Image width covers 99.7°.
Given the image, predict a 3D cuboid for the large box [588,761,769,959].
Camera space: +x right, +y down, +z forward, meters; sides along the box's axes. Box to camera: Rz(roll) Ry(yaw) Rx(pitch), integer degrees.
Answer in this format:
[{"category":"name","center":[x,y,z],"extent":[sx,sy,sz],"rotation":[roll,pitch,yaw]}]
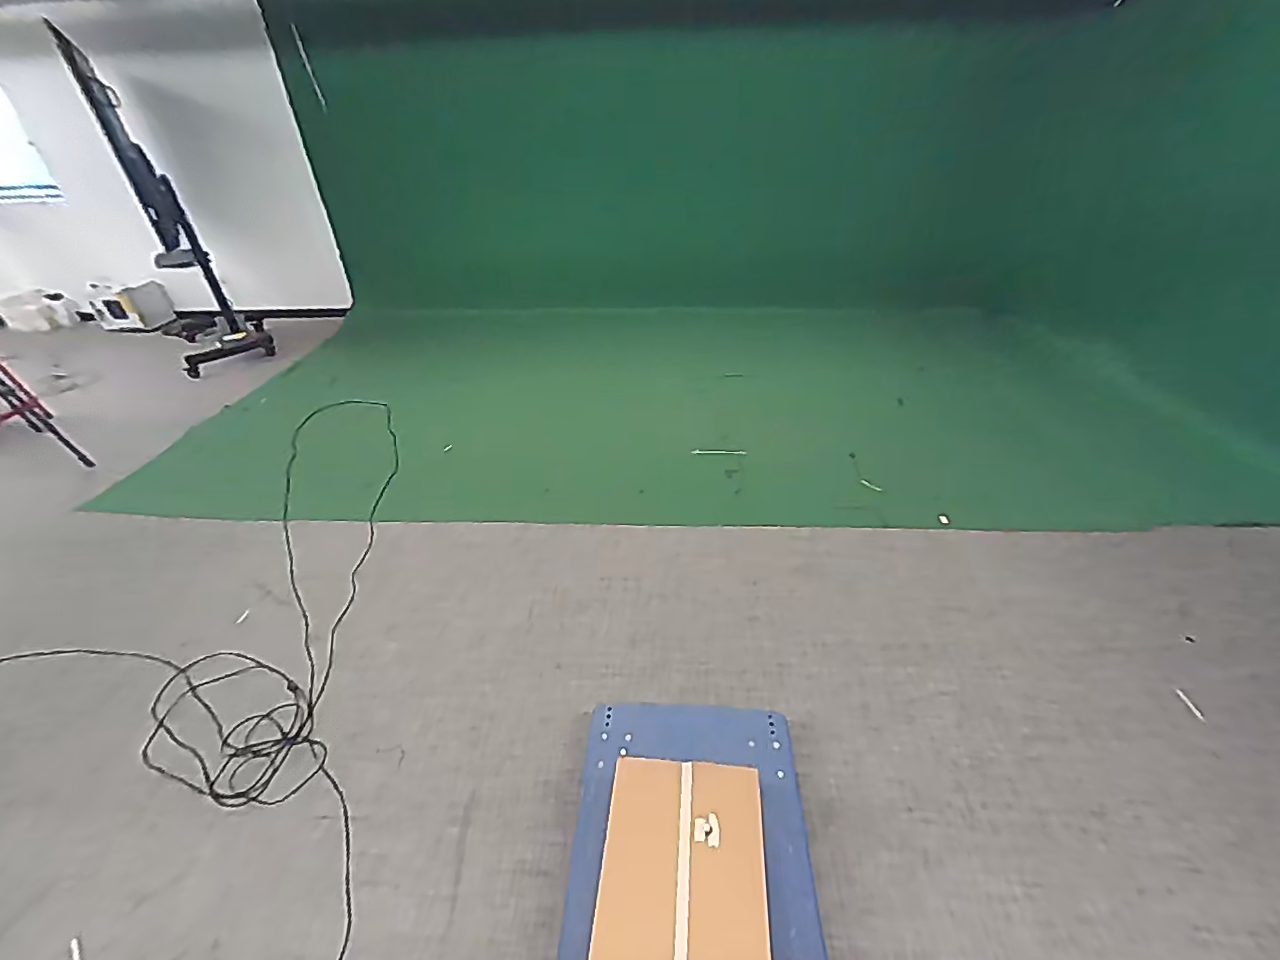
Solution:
[{"category":"large box","center":[0.084,0.870,1.121],"extent":[0.320,0.320,0.408],"rotation":[3,35,6]}]
